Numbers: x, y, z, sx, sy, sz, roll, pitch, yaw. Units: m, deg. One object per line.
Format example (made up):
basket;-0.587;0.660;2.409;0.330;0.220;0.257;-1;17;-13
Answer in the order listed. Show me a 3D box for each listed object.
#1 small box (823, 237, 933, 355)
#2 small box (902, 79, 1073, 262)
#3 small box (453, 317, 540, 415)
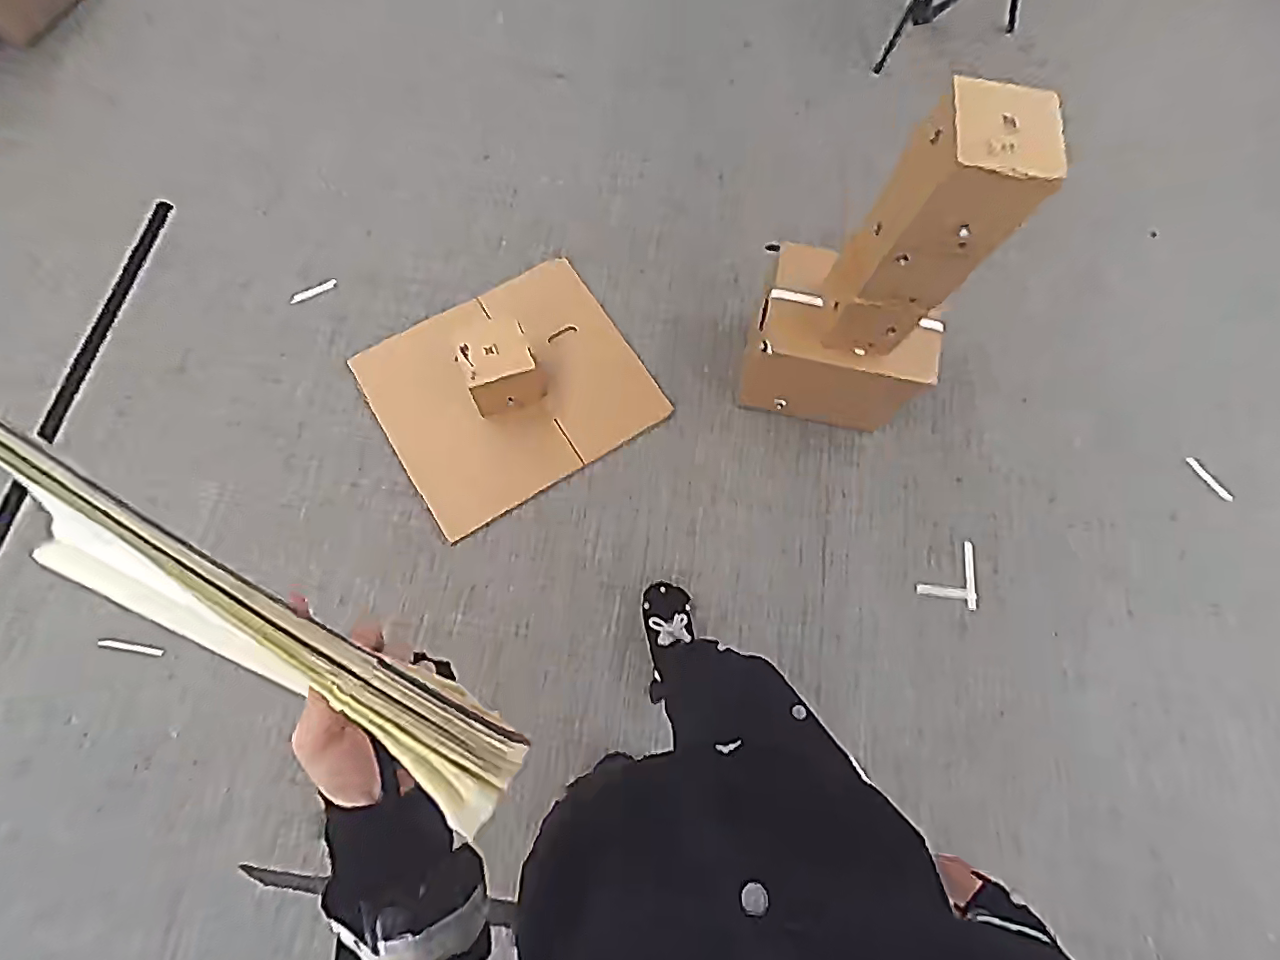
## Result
small box;0.512;-0.393;1.181;0.168;0.176;0.179;7;73;-2
small box;0.541;-0.486;0.867;0.168;0.176;0.179;9;73;-1
small box;-0.366;-0.292;1.413;0.179;0.176;0.168;-19;75;-11
